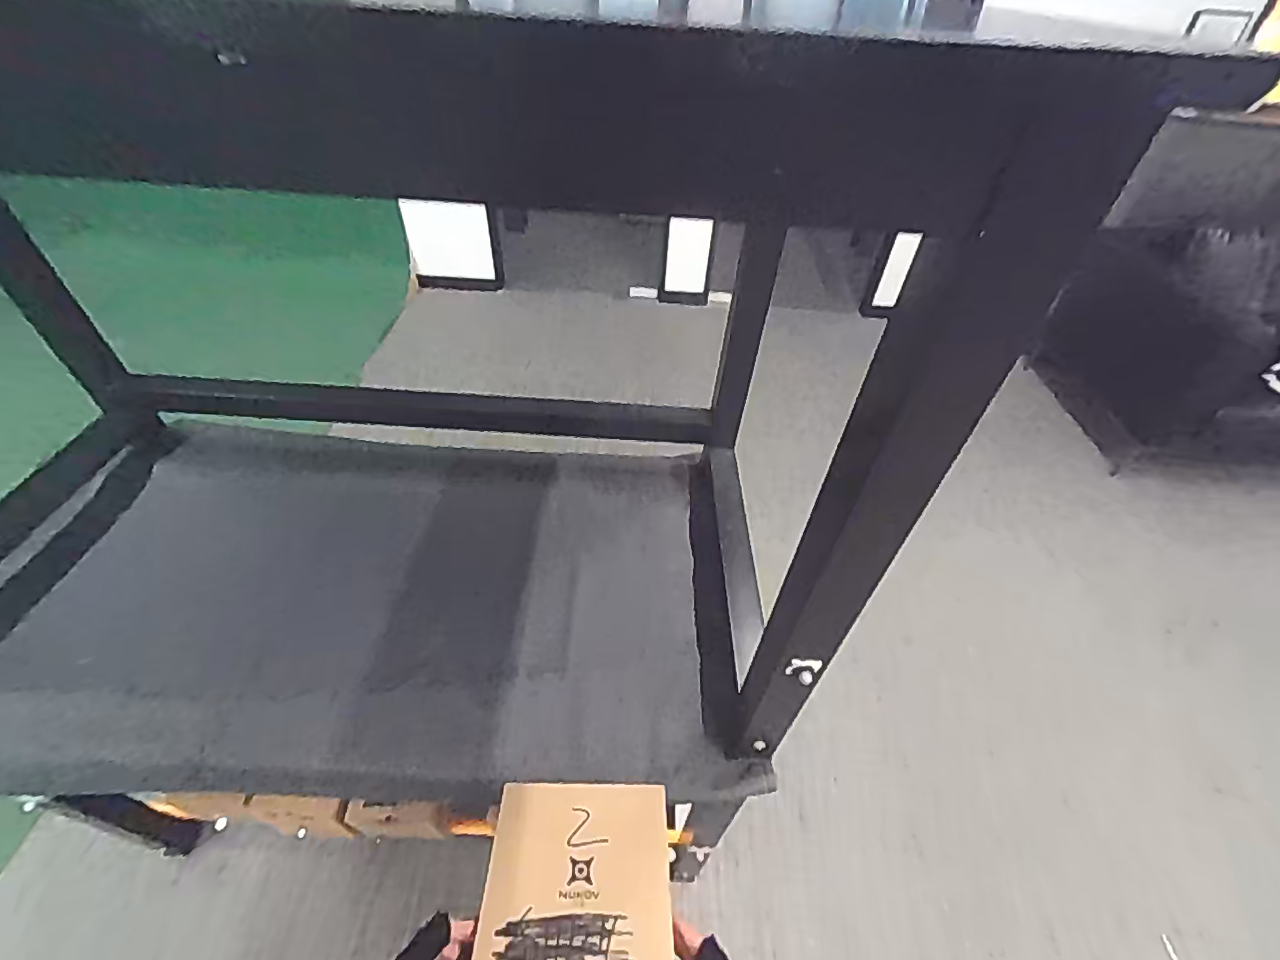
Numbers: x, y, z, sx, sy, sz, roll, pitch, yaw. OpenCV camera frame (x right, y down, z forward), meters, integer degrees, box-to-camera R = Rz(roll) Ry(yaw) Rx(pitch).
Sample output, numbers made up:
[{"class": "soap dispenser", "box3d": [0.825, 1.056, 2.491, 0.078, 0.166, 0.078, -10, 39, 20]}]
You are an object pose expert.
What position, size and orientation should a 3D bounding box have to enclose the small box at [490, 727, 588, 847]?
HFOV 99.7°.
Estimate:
[{"class": "small box", "box3d": [-0.209, 0.664, 1.169, 0.168, 0.176, 0.179, 6, 47, 4]}]
